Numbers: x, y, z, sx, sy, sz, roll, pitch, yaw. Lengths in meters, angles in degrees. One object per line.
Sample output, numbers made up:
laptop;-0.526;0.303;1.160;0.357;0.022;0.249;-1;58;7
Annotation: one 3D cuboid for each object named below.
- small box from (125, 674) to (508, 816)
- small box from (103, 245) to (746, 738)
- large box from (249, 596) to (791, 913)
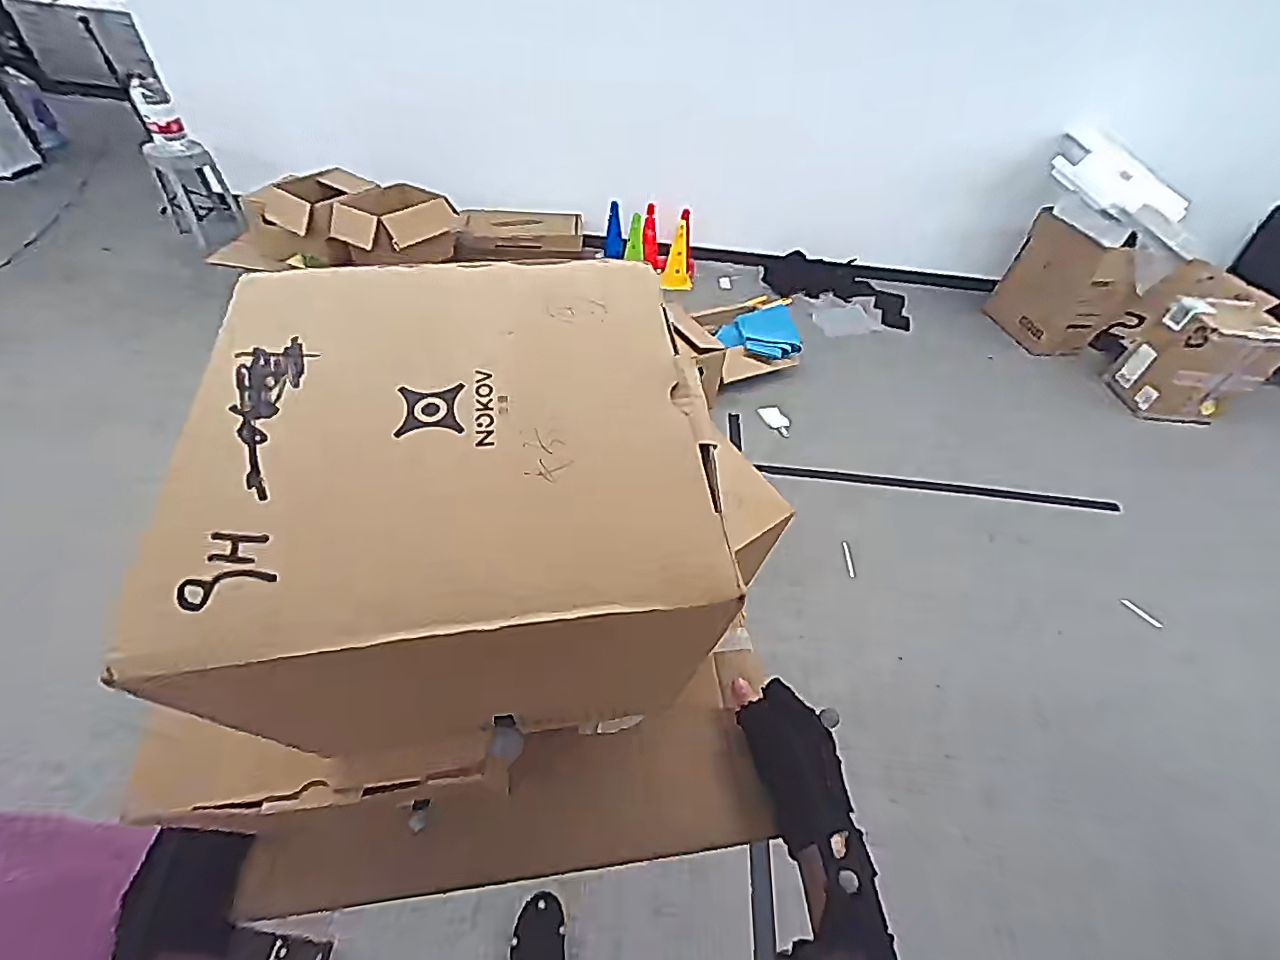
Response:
small box;-0.179;0.120;0.372;0.168;0.176;0.179;-2;55;-12
small box;-0.072;0.014;0.259;0.179;0.176;0.168;-4;57;-10
large box;-0.112;0.235;0.599;0.408;0.320;0.320;-2;57;-11
